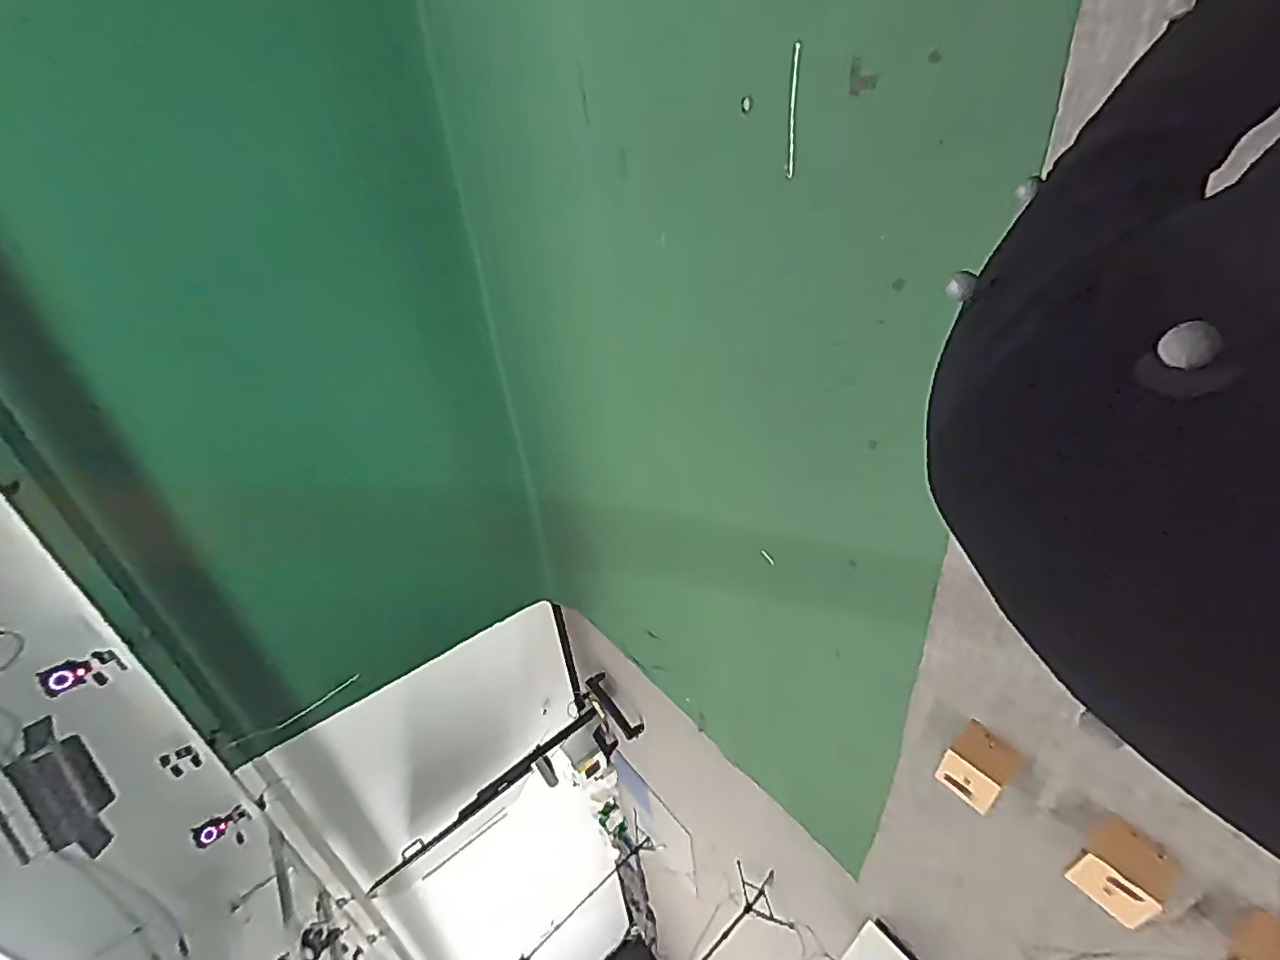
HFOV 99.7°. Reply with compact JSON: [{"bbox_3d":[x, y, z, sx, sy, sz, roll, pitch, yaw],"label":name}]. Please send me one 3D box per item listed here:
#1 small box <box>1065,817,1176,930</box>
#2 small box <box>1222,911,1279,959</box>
[{"bbox_3d":[1.359,1.103,1.528,0.168,0.176,0.179,36,140,40],"label":"small box"},{"bbox_3d":[1.555,1.210,1.306,0.168,0.176,0.179,30,134,44],"label":"small box"}]
